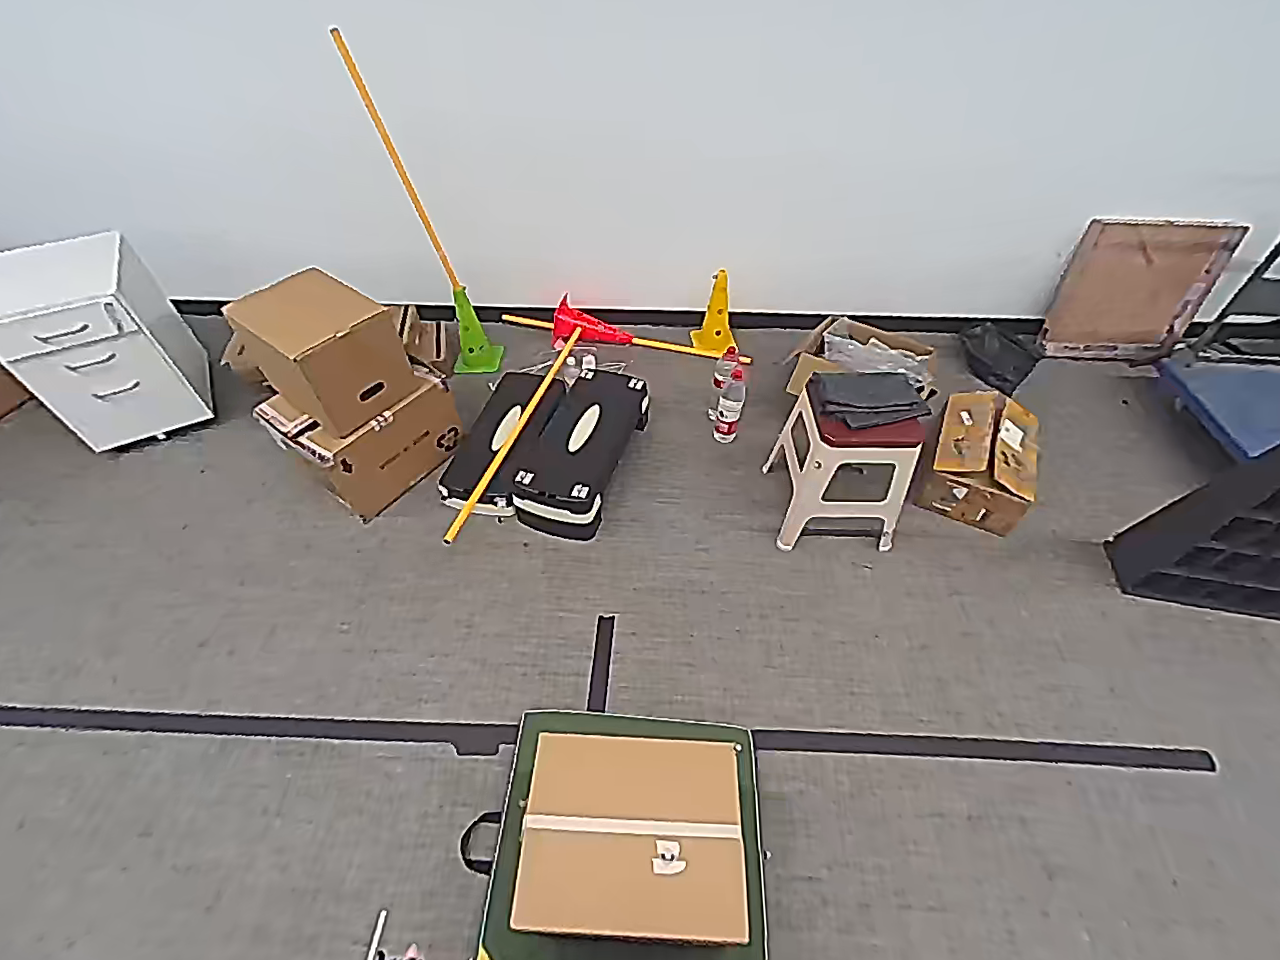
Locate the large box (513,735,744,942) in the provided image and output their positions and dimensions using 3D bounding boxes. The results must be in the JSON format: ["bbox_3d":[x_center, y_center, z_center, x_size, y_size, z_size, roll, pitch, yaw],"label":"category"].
[{"bbox_3d":[-0.021,0.750,1.126,0.408,0.320,0.320,3,49,0],"label":"large box"}]
